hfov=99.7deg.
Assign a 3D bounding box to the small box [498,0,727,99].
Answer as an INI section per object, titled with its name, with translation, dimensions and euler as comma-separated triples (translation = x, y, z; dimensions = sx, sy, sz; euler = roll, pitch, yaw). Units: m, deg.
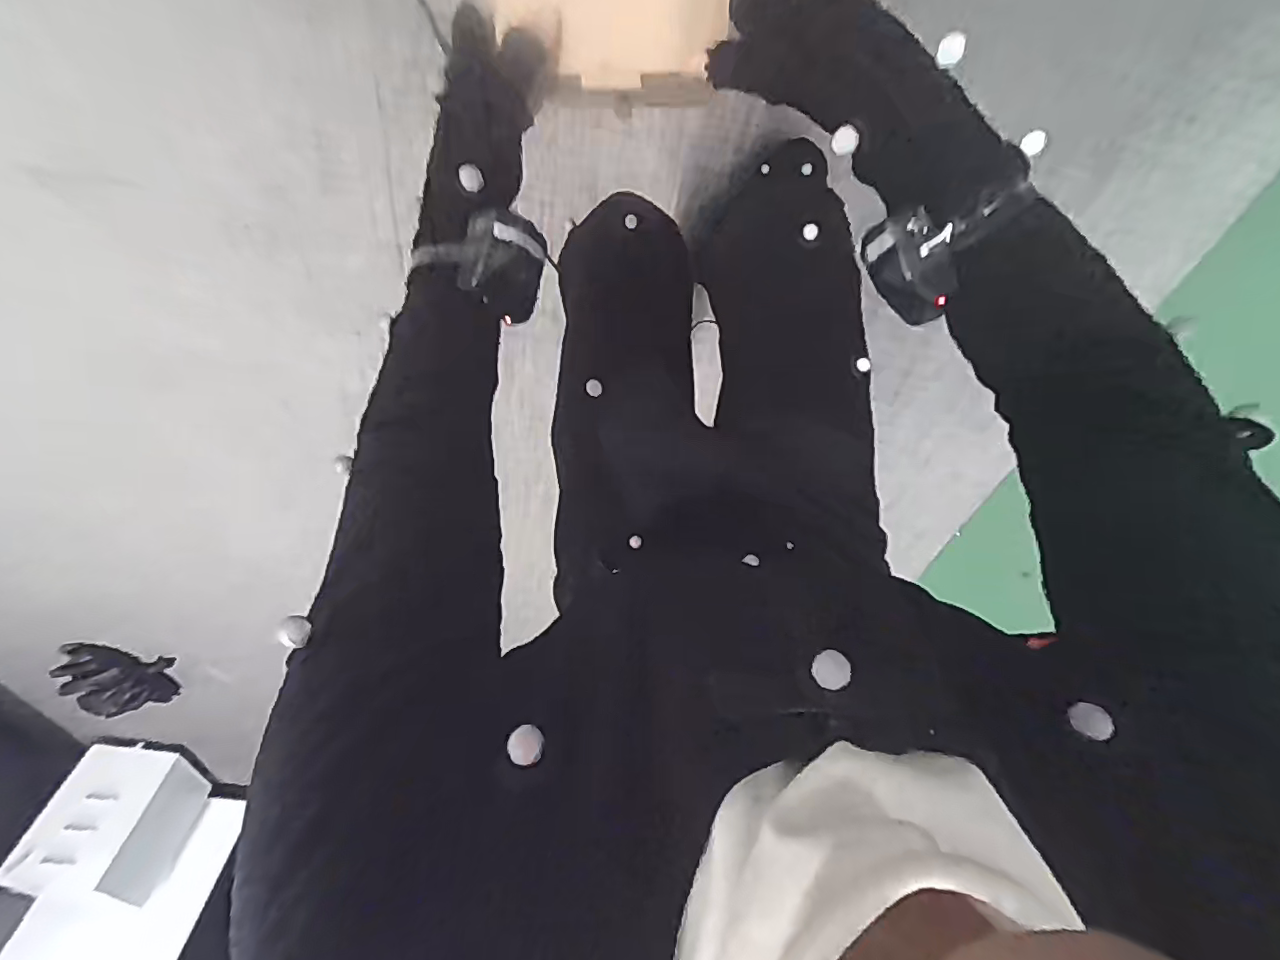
[small box]
translation = -0.012, -0.414, 0.425
dimensions = 0.168, 0.176, 0.179
euler = 2, 117, 4
